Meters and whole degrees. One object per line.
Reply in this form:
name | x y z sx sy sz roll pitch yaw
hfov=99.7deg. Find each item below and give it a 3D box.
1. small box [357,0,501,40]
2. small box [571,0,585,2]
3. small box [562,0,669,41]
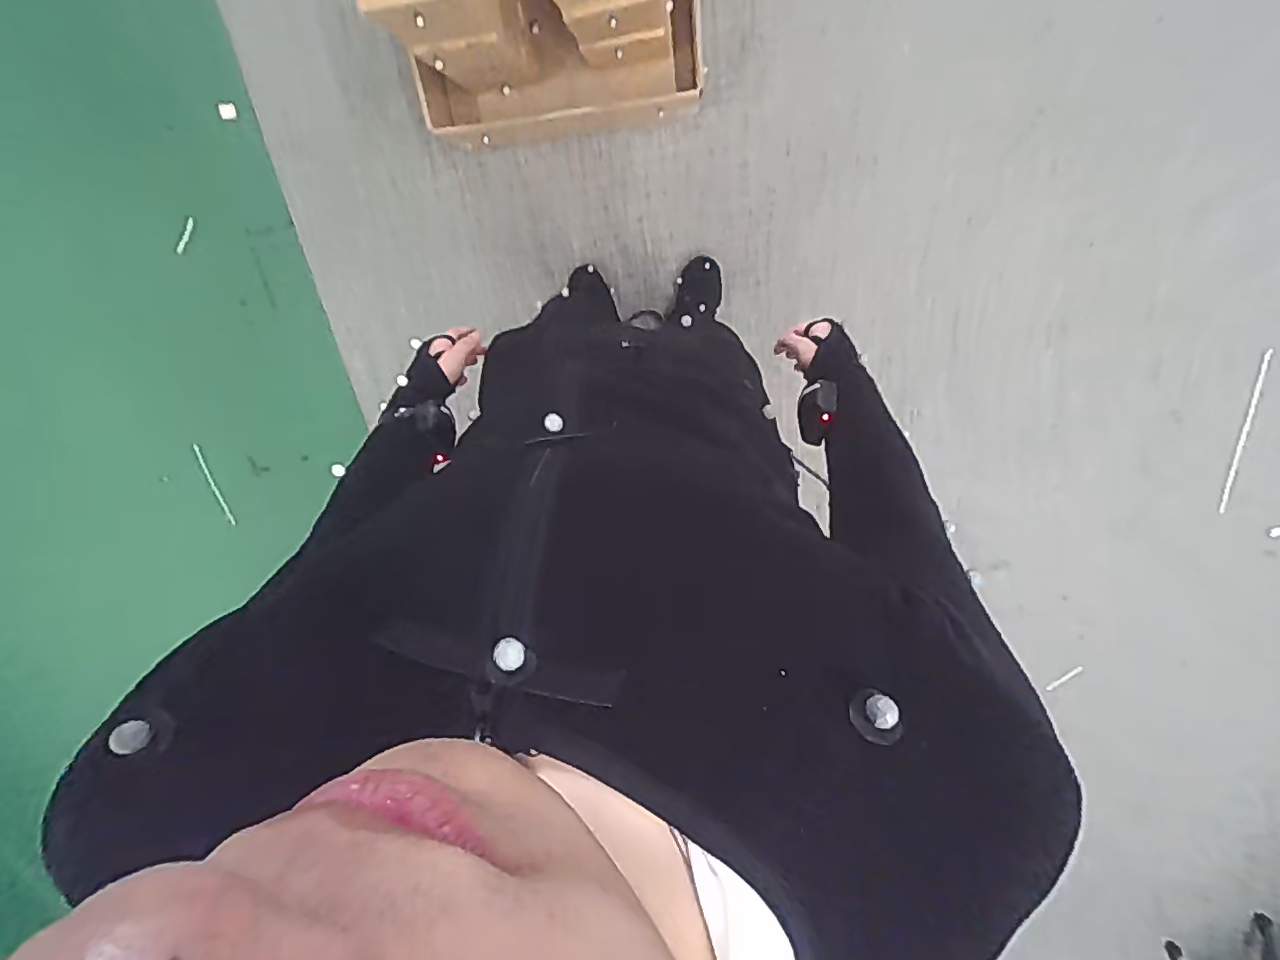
small box | -0.341 -0.827 0.852 0.179 0.176 0.168 -3 114 6
small box | -0.073 -0.861 0.812 0.168 0.176 0.179 -5 115 10
small box | -0.048 -0.918 0.962 0.179 0.176 0.168 -5 115 9
